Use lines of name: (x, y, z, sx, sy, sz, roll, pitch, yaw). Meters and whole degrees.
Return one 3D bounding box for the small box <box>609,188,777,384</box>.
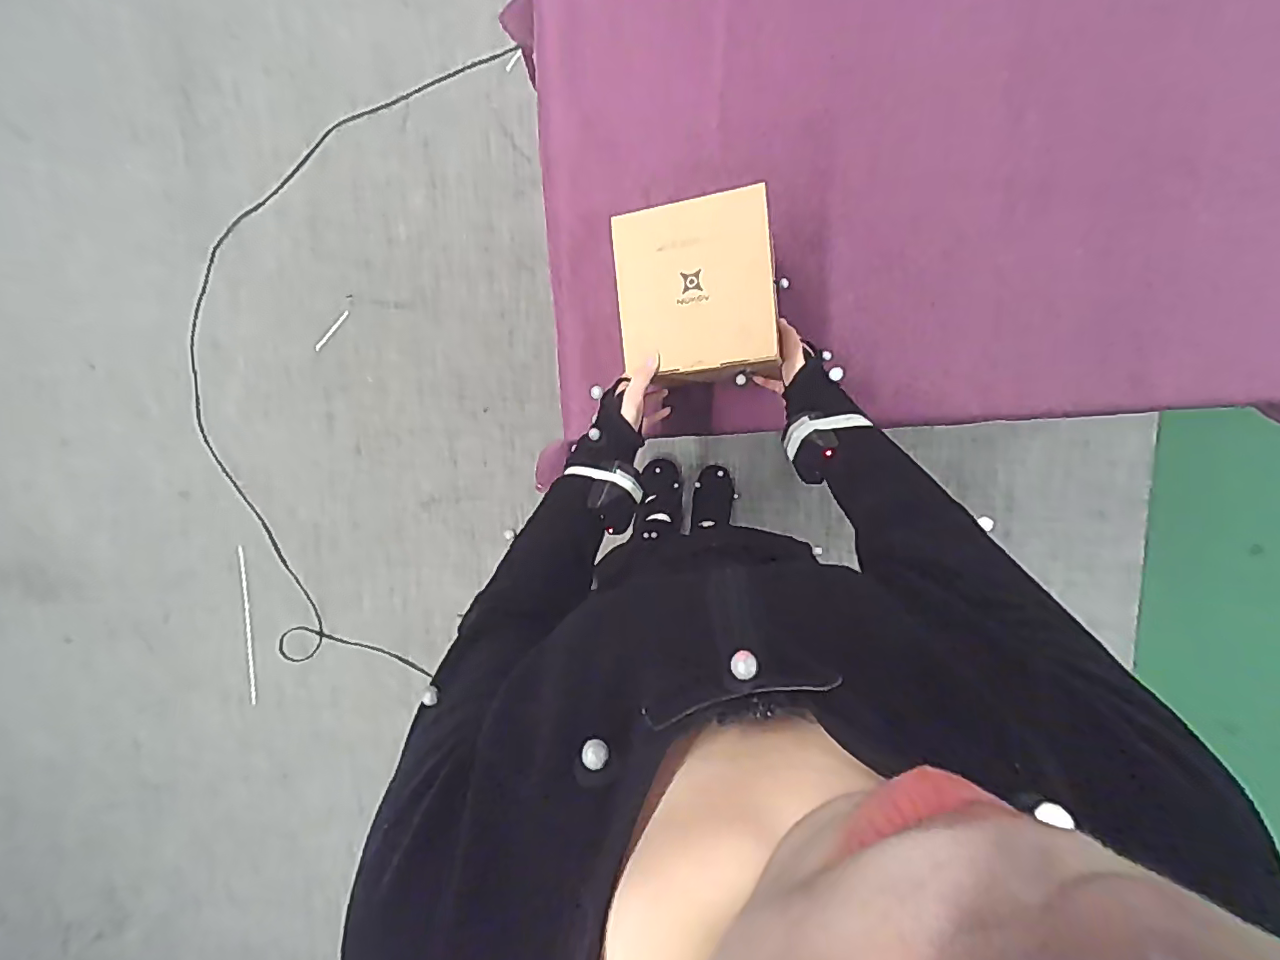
small box: (0.073, -0.211, 0.646, 0.168, 0.176, 0.179, -4, 94, 16)
